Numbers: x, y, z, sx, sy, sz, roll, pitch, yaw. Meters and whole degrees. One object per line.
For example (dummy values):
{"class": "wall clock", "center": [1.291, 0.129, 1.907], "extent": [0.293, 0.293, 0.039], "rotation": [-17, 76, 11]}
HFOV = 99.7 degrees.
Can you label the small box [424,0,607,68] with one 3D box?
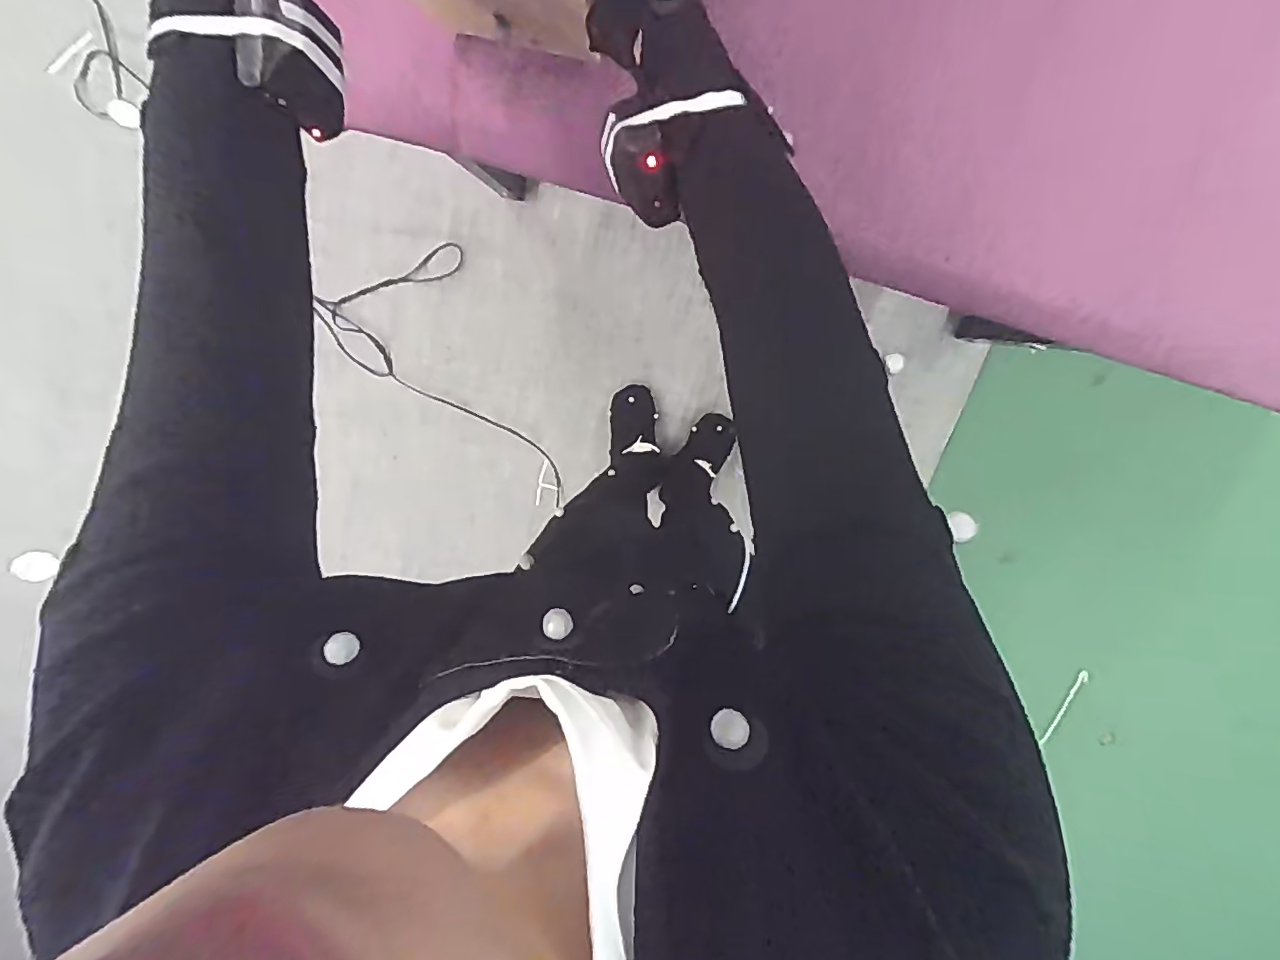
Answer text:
{"class": "small box", "center": [-0.104, -0.482, 0.437], "extent": [0.168, 0.176, 0.179], "rotation": [11, 110, -5]}
